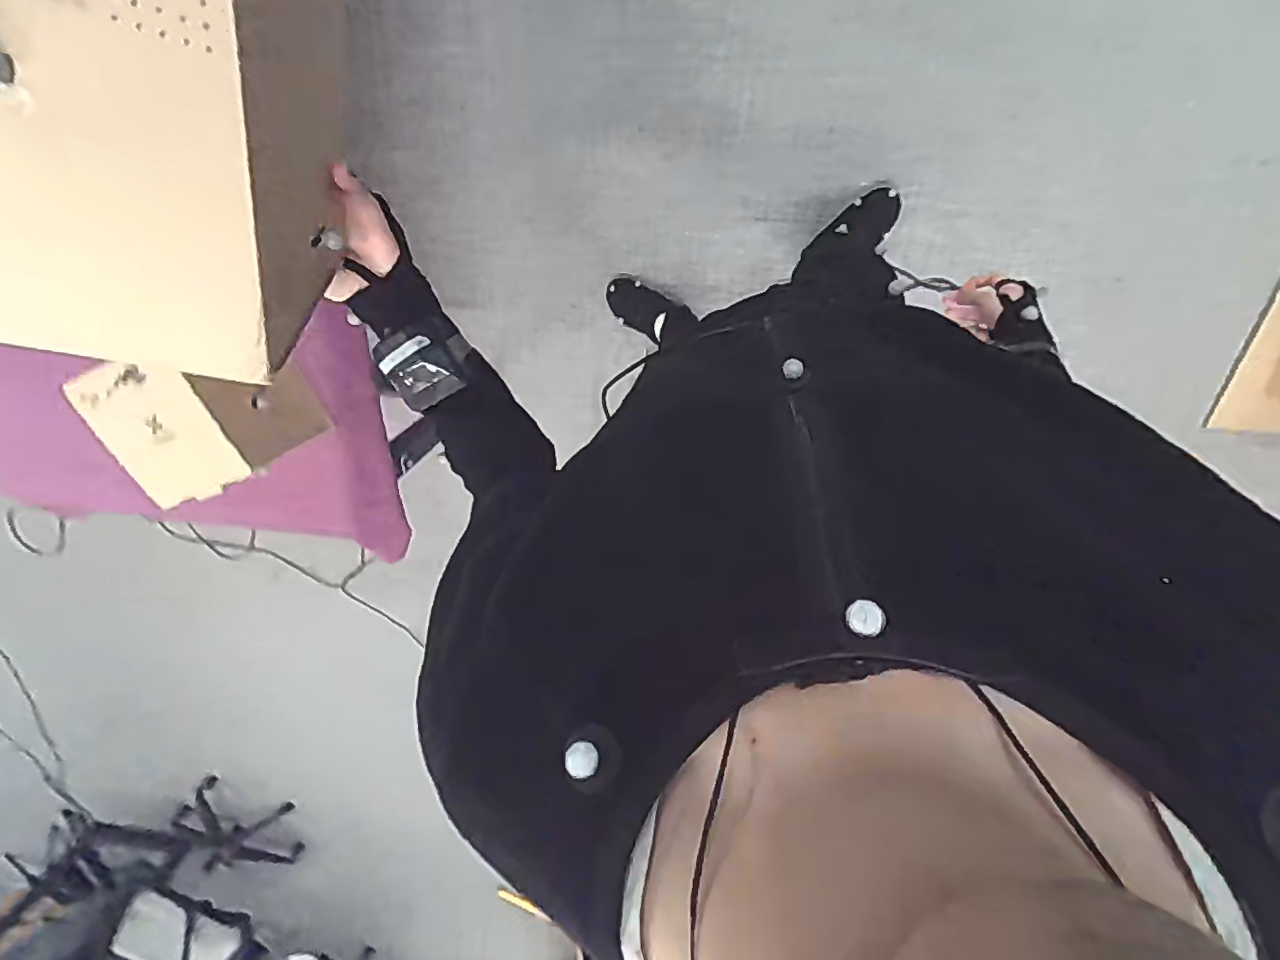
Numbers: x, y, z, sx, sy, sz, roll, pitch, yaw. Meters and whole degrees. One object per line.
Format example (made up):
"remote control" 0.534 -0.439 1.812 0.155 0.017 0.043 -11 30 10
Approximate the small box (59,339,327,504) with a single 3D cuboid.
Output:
"small box" -0.564 -0.098 0.714 0.168 0.176 0.179 -17 113 14

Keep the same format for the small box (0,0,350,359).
"small box" -0.239 -0.188 0.245 0.168 0.179 0.176 9 131 -21
